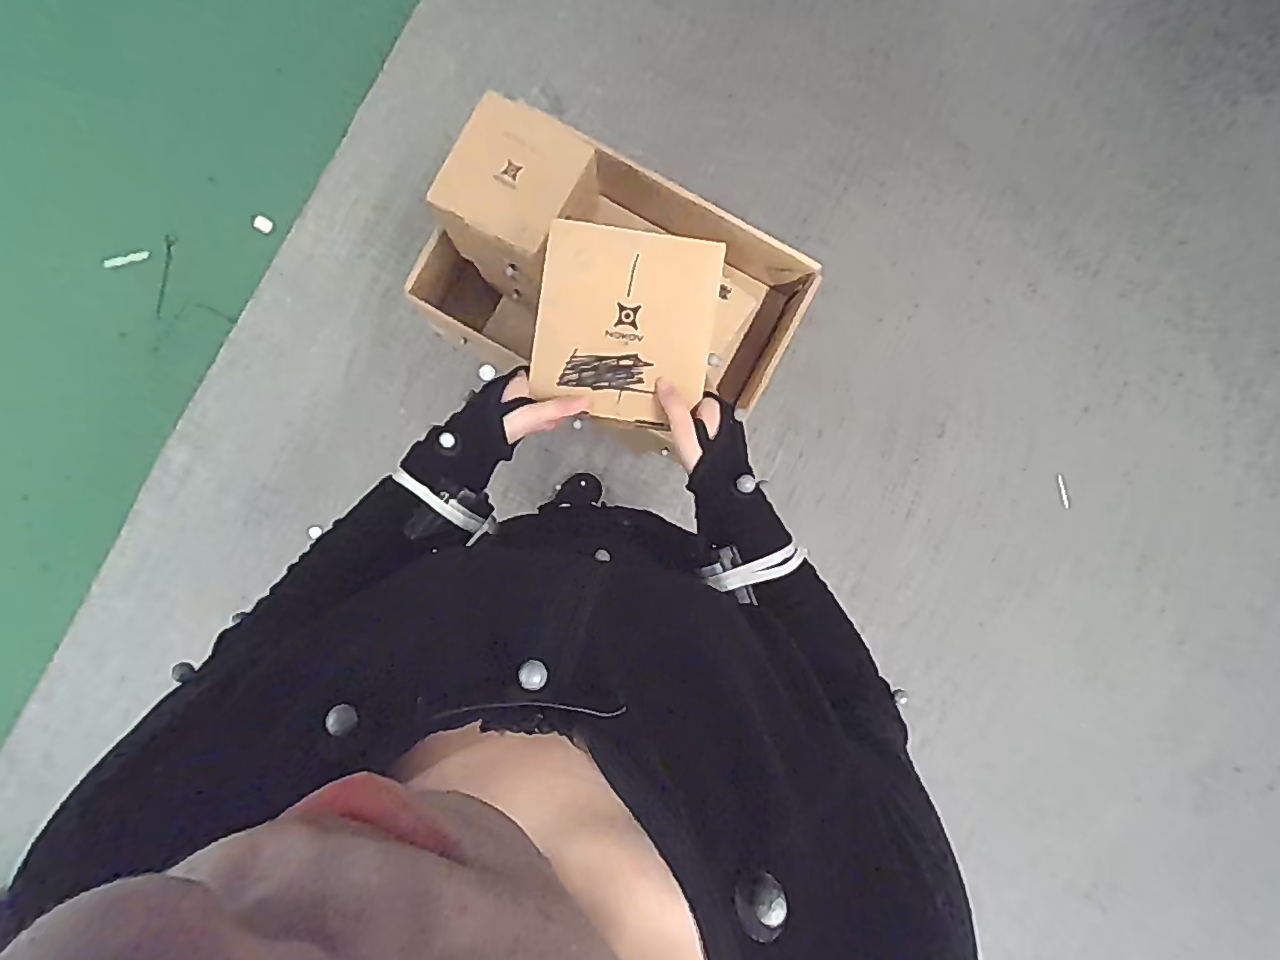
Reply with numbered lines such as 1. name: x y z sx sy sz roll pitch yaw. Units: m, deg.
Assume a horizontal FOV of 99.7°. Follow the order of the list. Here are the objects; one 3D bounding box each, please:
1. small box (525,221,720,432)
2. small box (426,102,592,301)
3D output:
1. small box: -0.014 -0.149 0.585 0.168 0.176 0.179 8 93 1
2. small box: -0.180 -0.397 0.808 0.168 0.176 0.179 28 87 0
